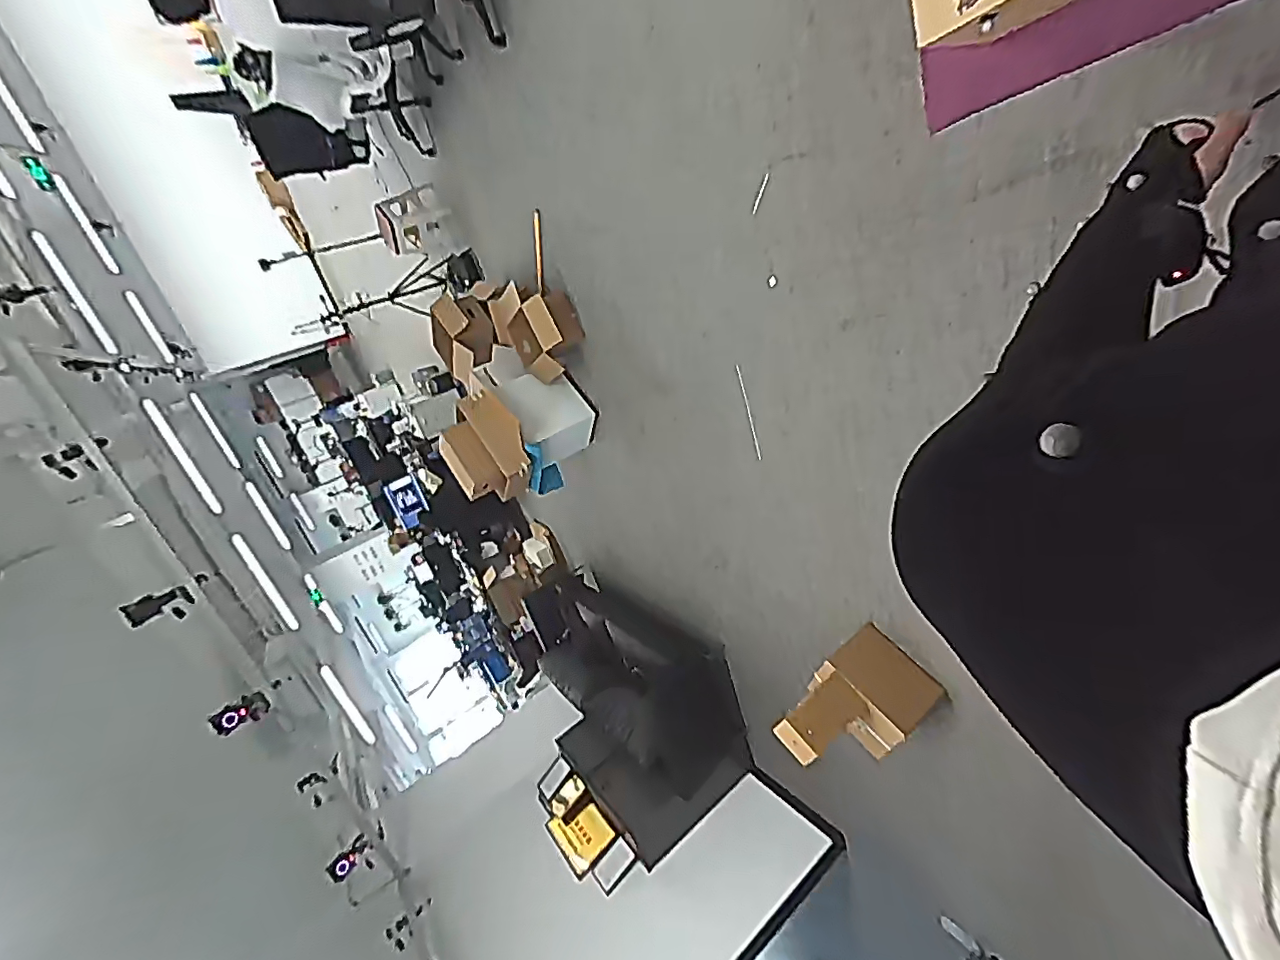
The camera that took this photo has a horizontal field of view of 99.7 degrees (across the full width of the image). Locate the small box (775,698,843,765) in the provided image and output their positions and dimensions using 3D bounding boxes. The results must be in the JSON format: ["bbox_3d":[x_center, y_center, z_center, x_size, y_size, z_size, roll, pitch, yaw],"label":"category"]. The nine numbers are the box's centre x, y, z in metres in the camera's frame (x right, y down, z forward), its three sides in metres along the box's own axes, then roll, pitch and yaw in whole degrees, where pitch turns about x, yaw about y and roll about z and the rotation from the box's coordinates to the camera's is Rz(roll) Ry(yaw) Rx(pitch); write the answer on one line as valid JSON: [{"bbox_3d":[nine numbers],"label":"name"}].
[{"bbox_3d":[0.693,1.025,2.222,0.179,0.176,0.168,44,148,26],"label":"small box"}]

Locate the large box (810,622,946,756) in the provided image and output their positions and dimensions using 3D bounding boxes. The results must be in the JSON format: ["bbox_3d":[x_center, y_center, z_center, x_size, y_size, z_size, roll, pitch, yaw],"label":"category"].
[{"bbox_3d":[1.049,0.924,2.417,0.408,0.320,0.320,42,149,30],"label":"large box"}]

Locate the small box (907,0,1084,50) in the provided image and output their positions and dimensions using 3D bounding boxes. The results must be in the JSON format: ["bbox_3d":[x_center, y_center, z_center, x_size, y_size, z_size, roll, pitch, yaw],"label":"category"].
[{"bbox_3d":[0.399,-0.590,0.563,0.168,0.176,0.179,14,126,56],"label":"small box"}]
